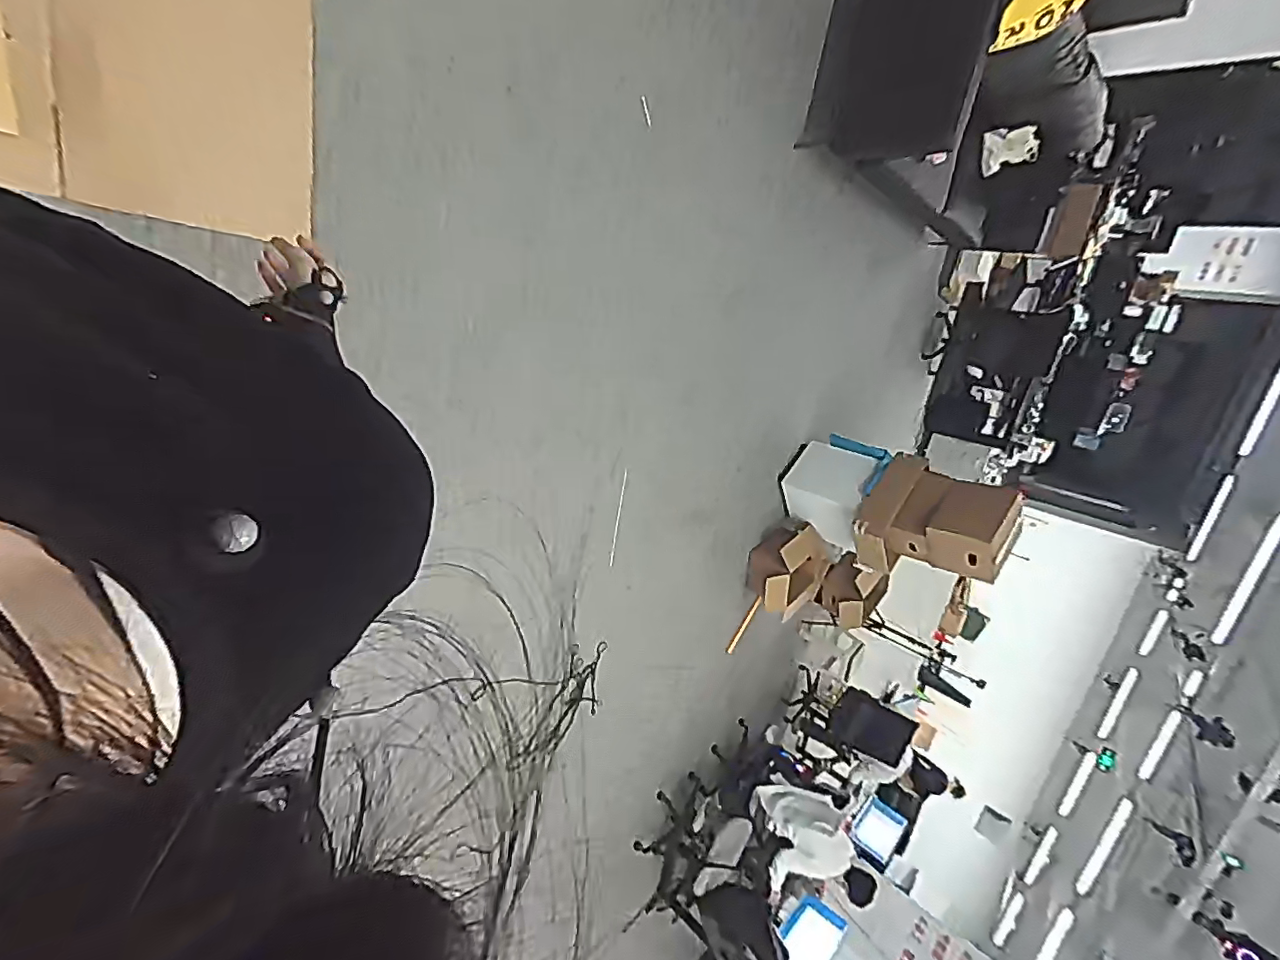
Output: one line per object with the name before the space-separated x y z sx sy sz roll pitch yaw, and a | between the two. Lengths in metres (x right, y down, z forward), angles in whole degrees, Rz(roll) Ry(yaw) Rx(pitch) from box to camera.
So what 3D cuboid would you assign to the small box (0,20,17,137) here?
small box | -1.044 -0.623 0.786 0.168 0.176 0.179 -10 115 -47
